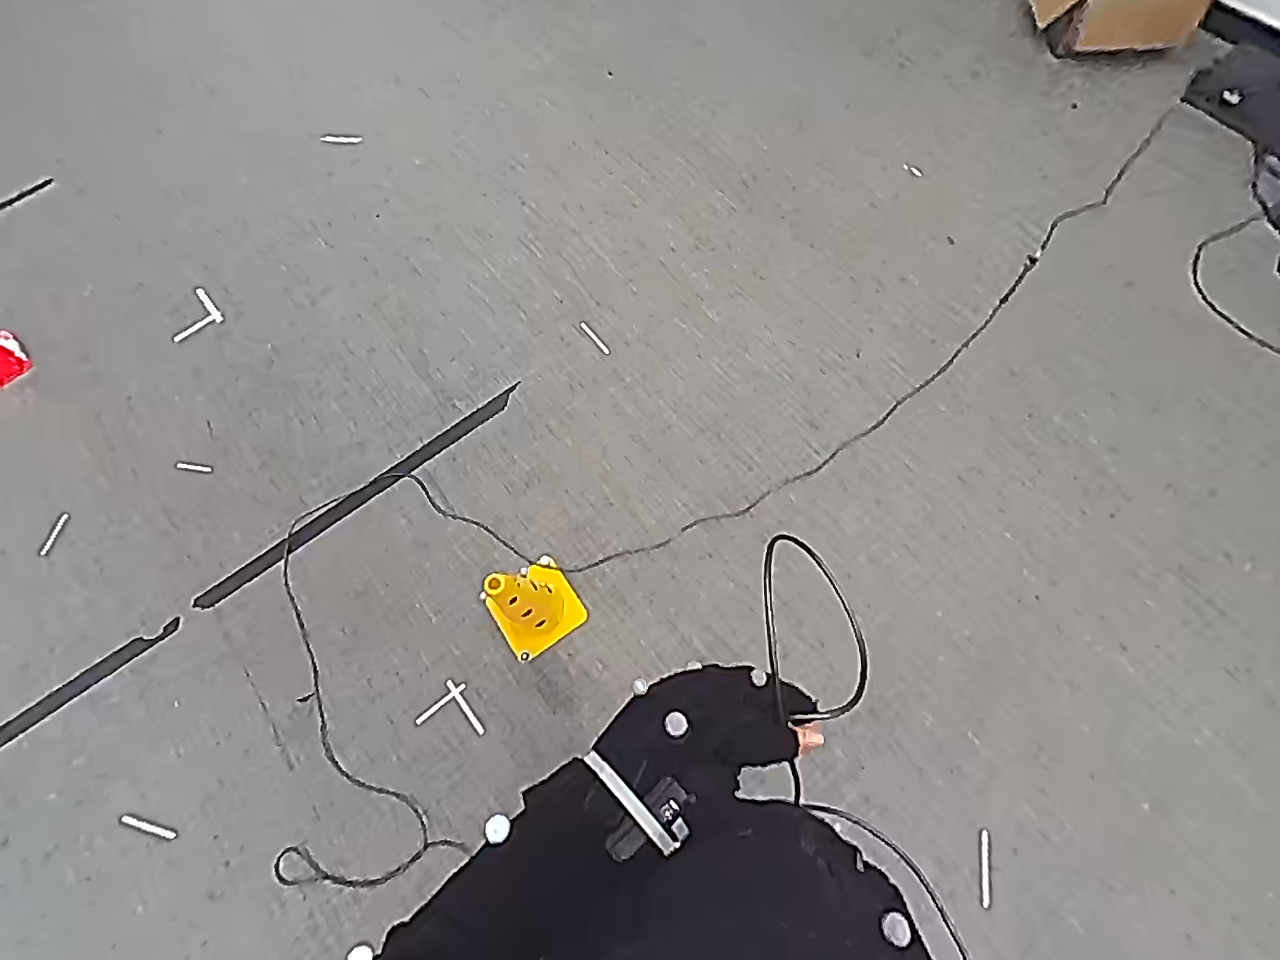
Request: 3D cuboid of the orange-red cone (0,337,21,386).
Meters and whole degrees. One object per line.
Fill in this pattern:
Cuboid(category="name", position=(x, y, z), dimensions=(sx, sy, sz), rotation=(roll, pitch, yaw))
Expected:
Cuboid(category="orange-red cone", position=(-2.075, -0.401, 1.540), dimensions=(0.199, 0.360, 0.198), rotation=(-42, 73, -10))
